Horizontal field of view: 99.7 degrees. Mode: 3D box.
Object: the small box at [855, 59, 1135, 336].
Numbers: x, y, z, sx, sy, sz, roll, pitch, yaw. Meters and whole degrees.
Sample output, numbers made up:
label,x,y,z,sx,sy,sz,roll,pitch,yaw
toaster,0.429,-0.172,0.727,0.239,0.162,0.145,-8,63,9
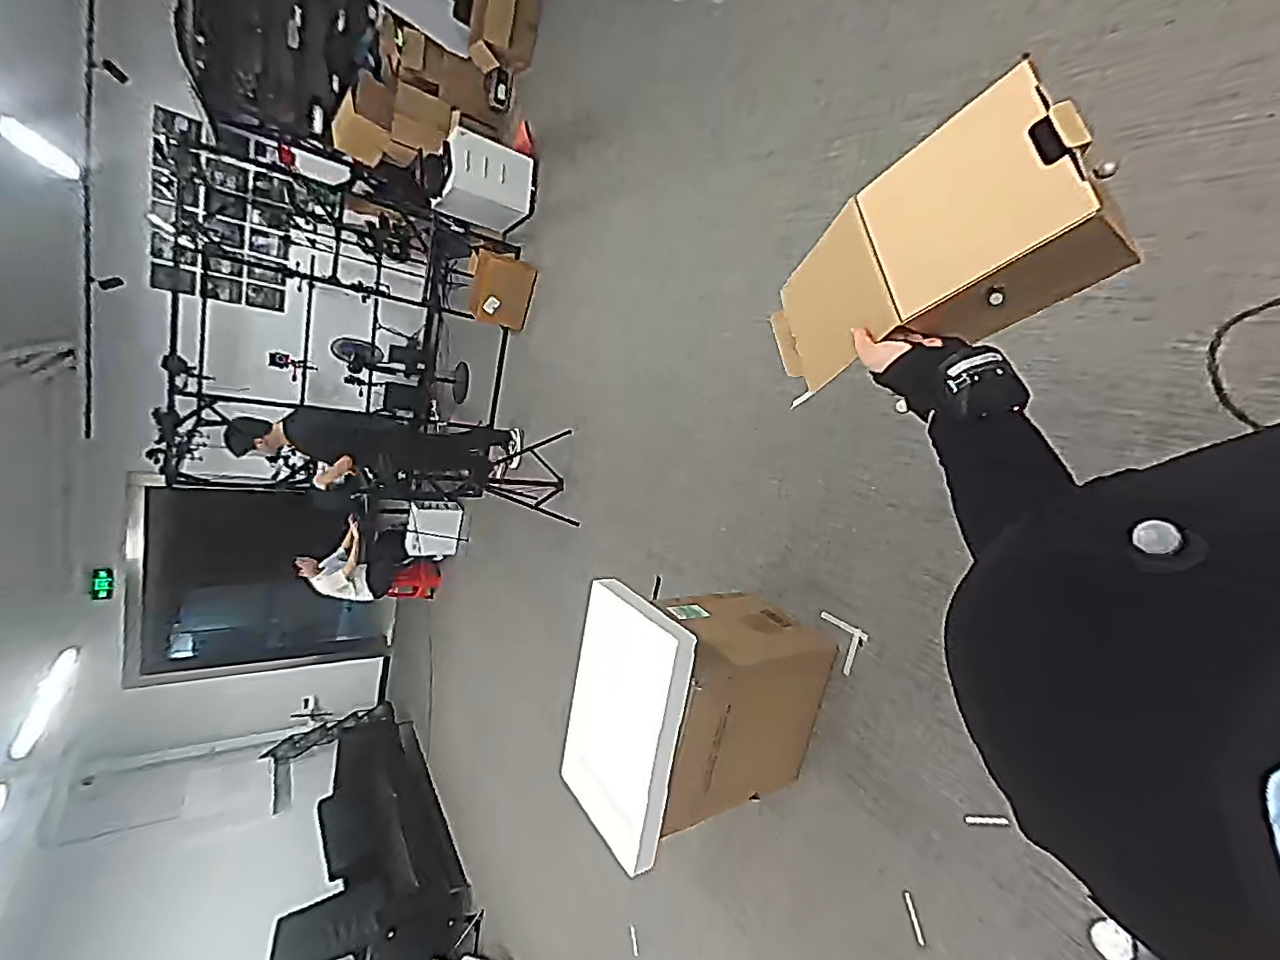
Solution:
label,x,y,z,sx,sy,sz,roll,pitch,yaw
small box,0.368,-0.272,0.572,0.179,0.176,0.168,-29,70,48
